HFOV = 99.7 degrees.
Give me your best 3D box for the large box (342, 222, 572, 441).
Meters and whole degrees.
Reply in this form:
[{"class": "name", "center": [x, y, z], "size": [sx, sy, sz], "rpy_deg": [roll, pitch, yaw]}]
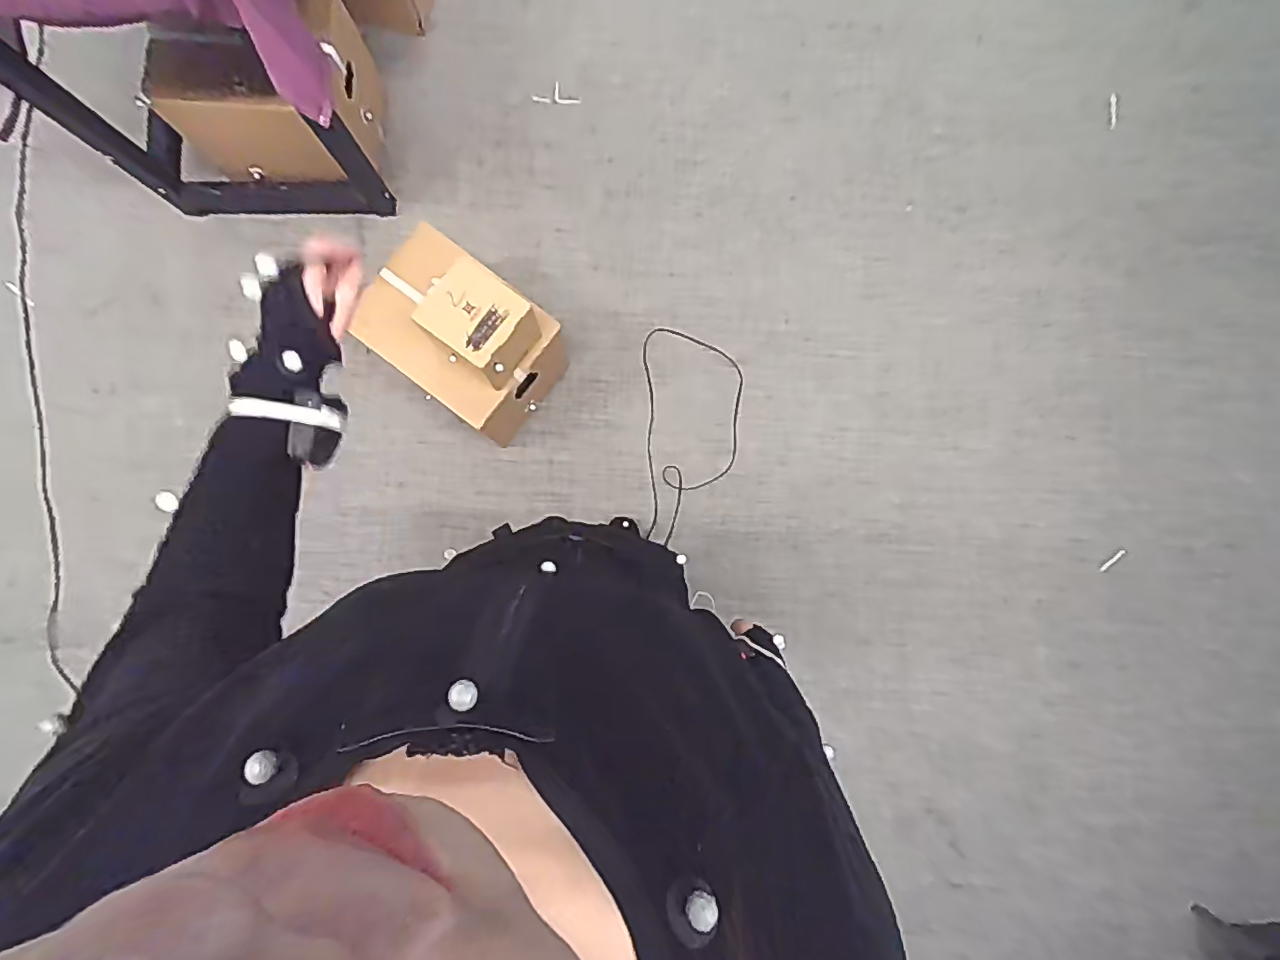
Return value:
[{"class": "large box", "center": [-0.432, -0.350, 1.379], "size": [0.408, 0.320, 0.320], "rpy_deg": [37, 84, 0]}]
